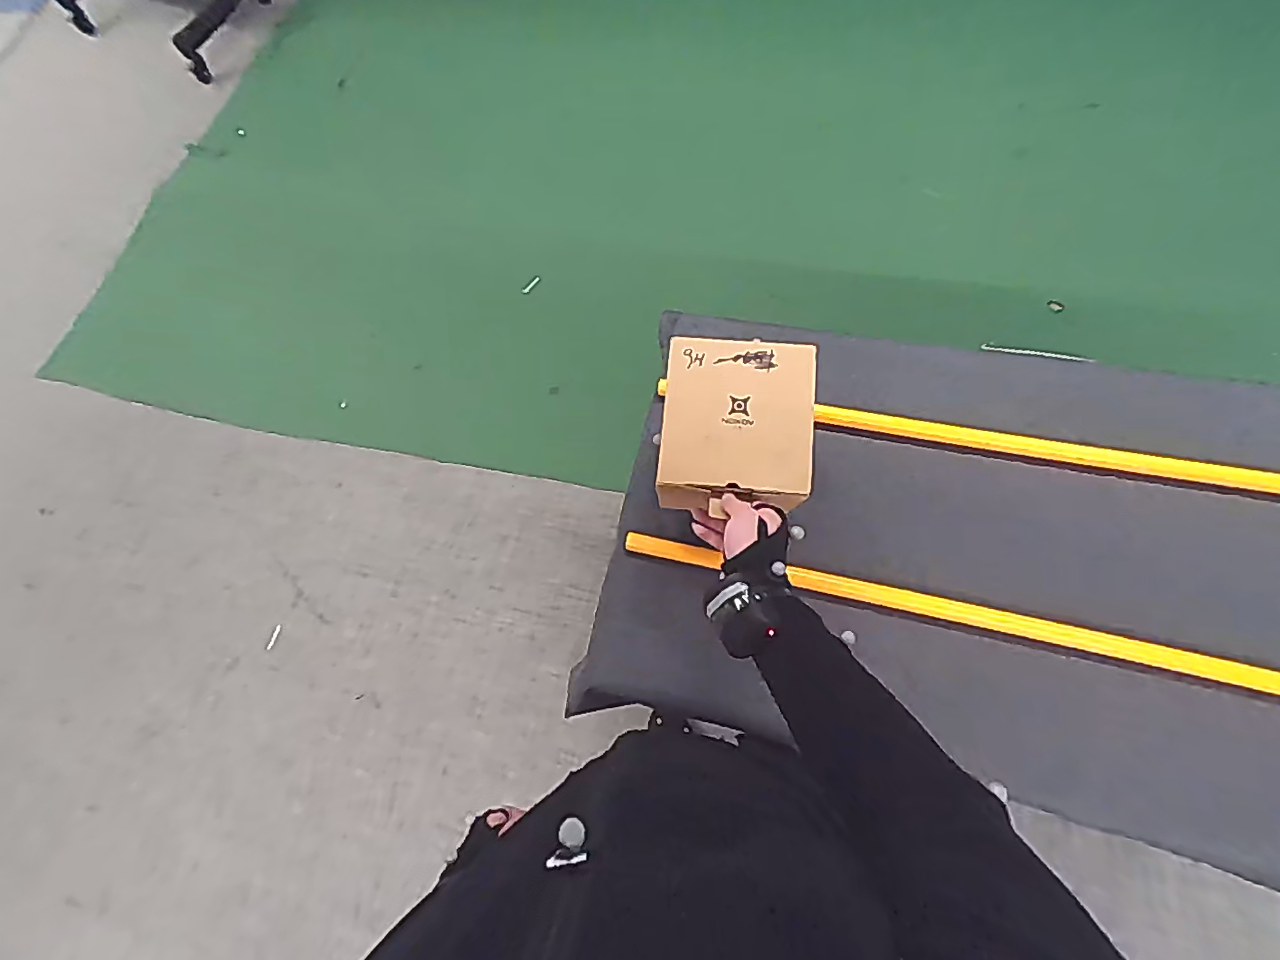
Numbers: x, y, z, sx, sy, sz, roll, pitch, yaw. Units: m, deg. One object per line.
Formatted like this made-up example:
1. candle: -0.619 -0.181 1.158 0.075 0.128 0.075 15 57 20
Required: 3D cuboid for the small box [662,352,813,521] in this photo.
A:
1. small box: 0.119 -0.045 0.682 0.168 0.176 0.179 2 77 6
